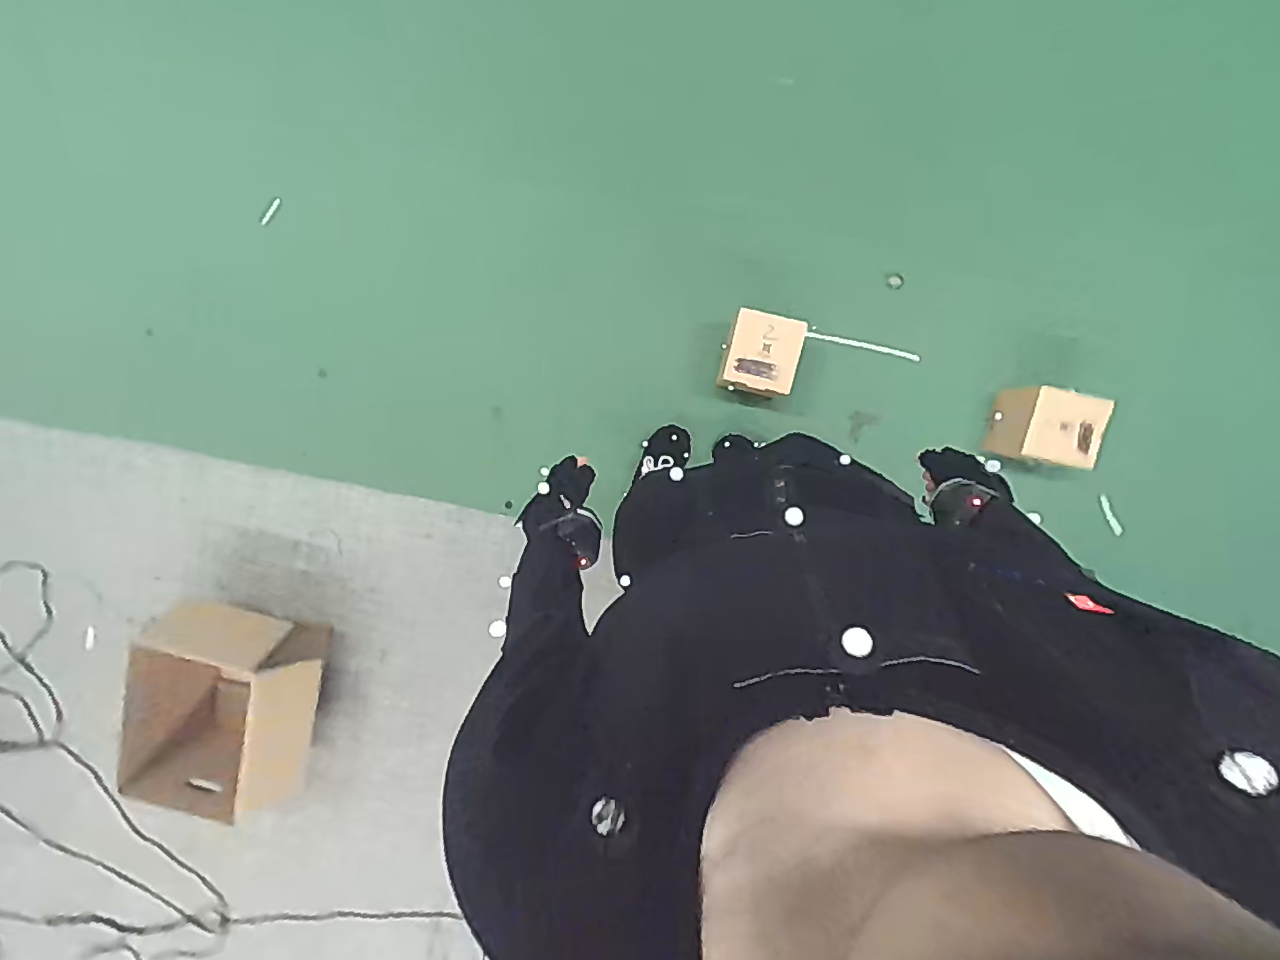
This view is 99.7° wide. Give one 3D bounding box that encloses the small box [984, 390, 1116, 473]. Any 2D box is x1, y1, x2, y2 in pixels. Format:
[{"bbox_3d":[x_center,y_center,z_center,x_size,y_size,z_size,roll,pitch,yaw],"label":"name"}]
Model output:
[{"bbox_3d":[1.010,-0.124,1.347,0.179,0.176,0.168,14,97,1],"label":"small box"}]
